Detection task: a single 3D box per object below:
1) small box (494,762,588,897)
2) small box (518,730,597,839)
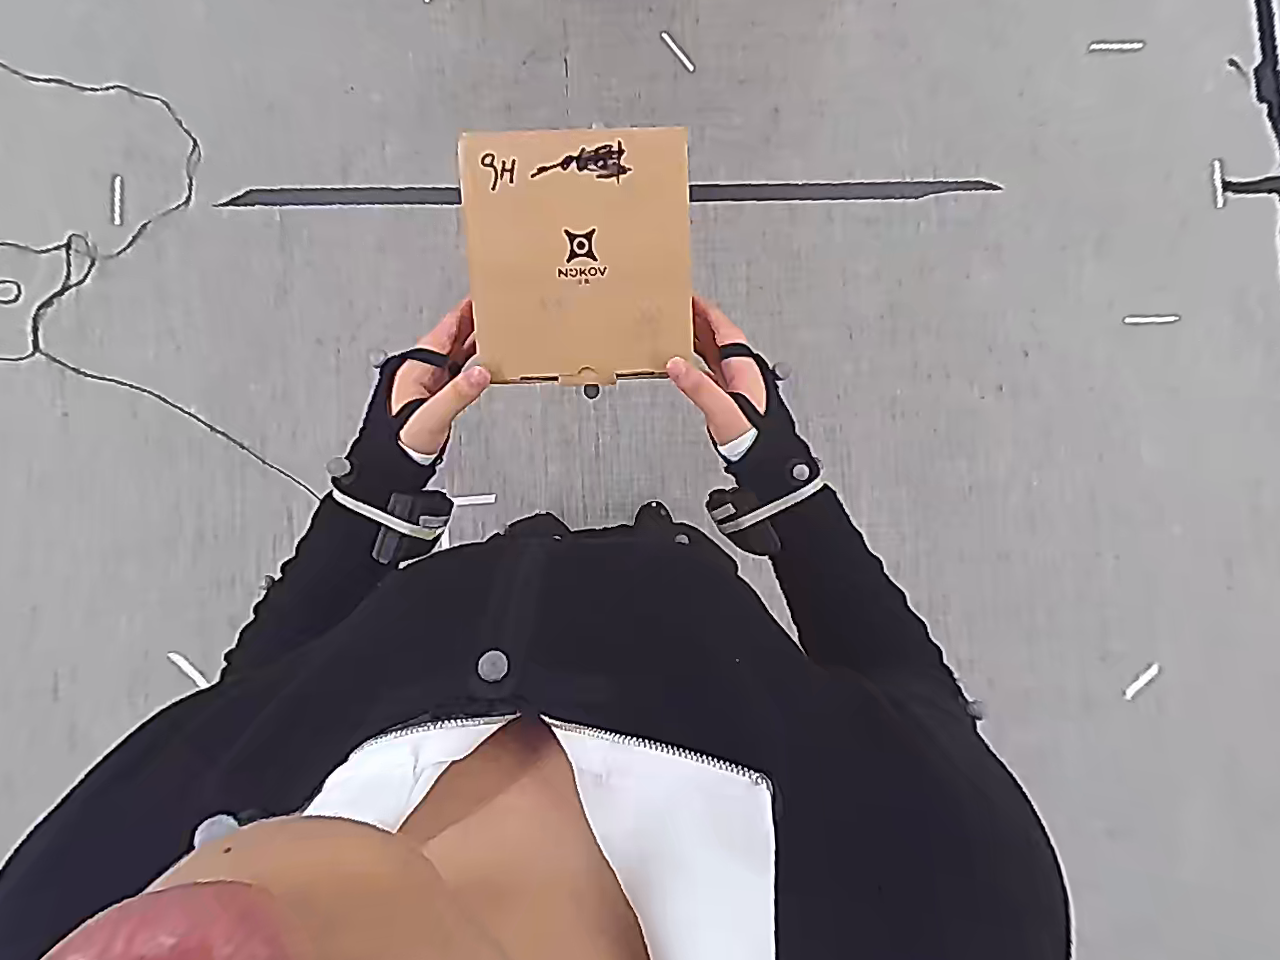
[{"bbox_3d":[-0.198,0.719,1.124,0.168,0.176,0.179,1,88,-1],"label":"small box"},{"bbox_3d":[-0.191,0.721,1.288,0.168,0.176,0.179,-3,89,-1],"label":"small box"}]
